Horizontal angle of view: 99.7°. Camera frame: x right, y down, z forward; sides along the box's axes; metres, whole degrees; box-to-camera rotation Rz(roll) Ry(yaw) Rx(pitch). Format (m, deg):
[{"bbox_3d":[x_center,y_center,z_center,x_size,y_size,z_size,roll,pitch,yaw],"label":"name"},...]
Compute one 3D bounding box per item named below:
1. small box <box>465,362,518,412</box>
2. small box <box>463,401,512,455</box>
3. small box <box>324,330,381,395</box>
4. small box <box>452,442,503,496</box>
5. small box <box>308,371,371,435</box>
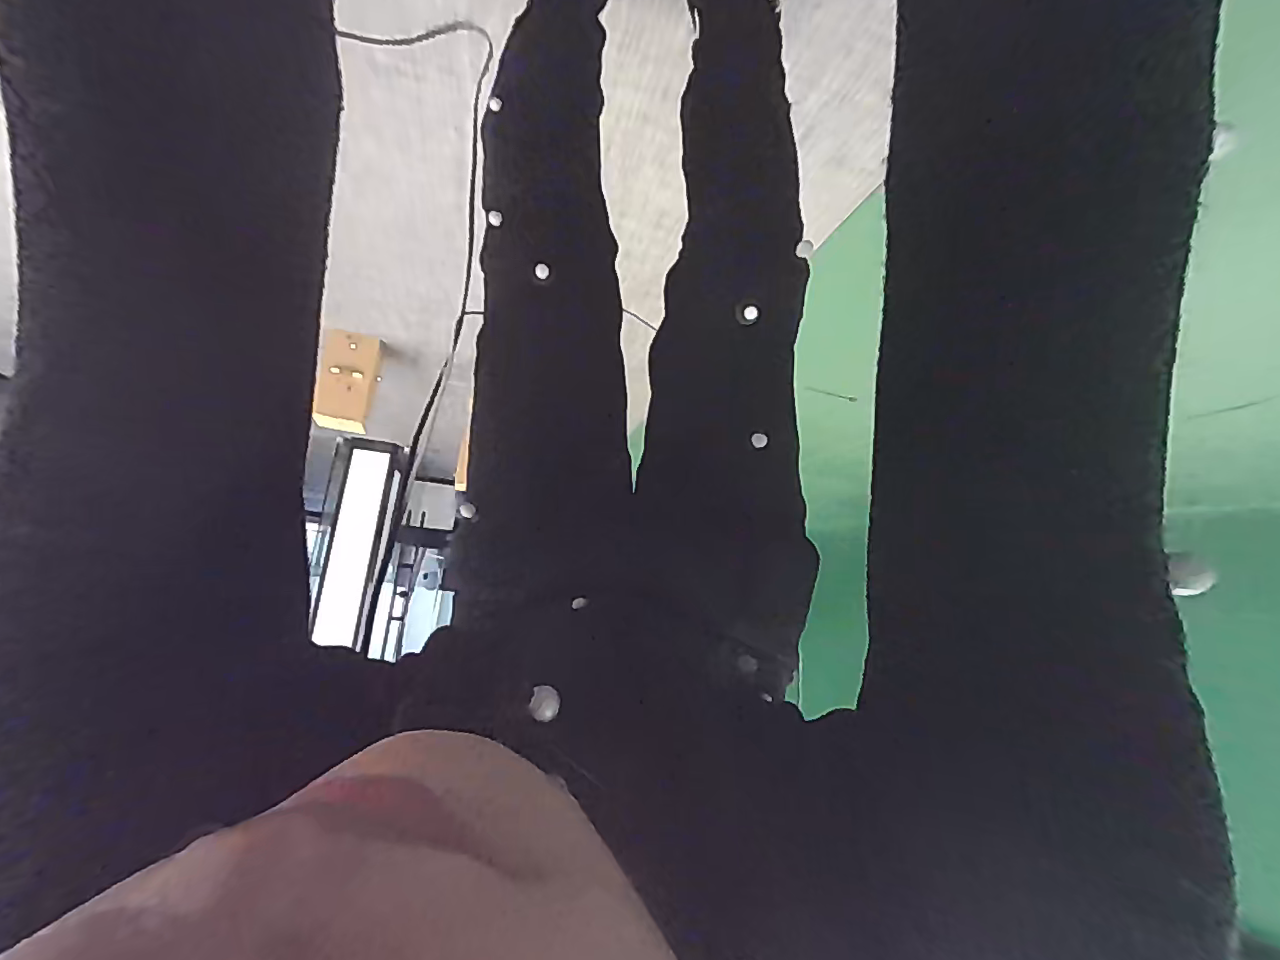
[{"bbox_3d":[-0.595,-0.360,2.173,0.179,0.176,0.168,11,166,-20],"label":"small box"},{"bbox_3d":[-0.605,-0.201,2.137,0.168,0.176,0.179,10,166,-19],"label":"small box"},{"bbox_3d":[-1.079,-0.439,2.032,0.168,0.176,0.179,10,166,-26],"label":"small box"},{"bbox_3d":[-0.634,-0.041,2.106,0.168,0.176,0.179,10,167,-18],"label":"small box"},{"bbox_3d":[-1.104,-0.283,1.999,0.168,0.176,0.179,11,166,-20],"label":"small box"}]
